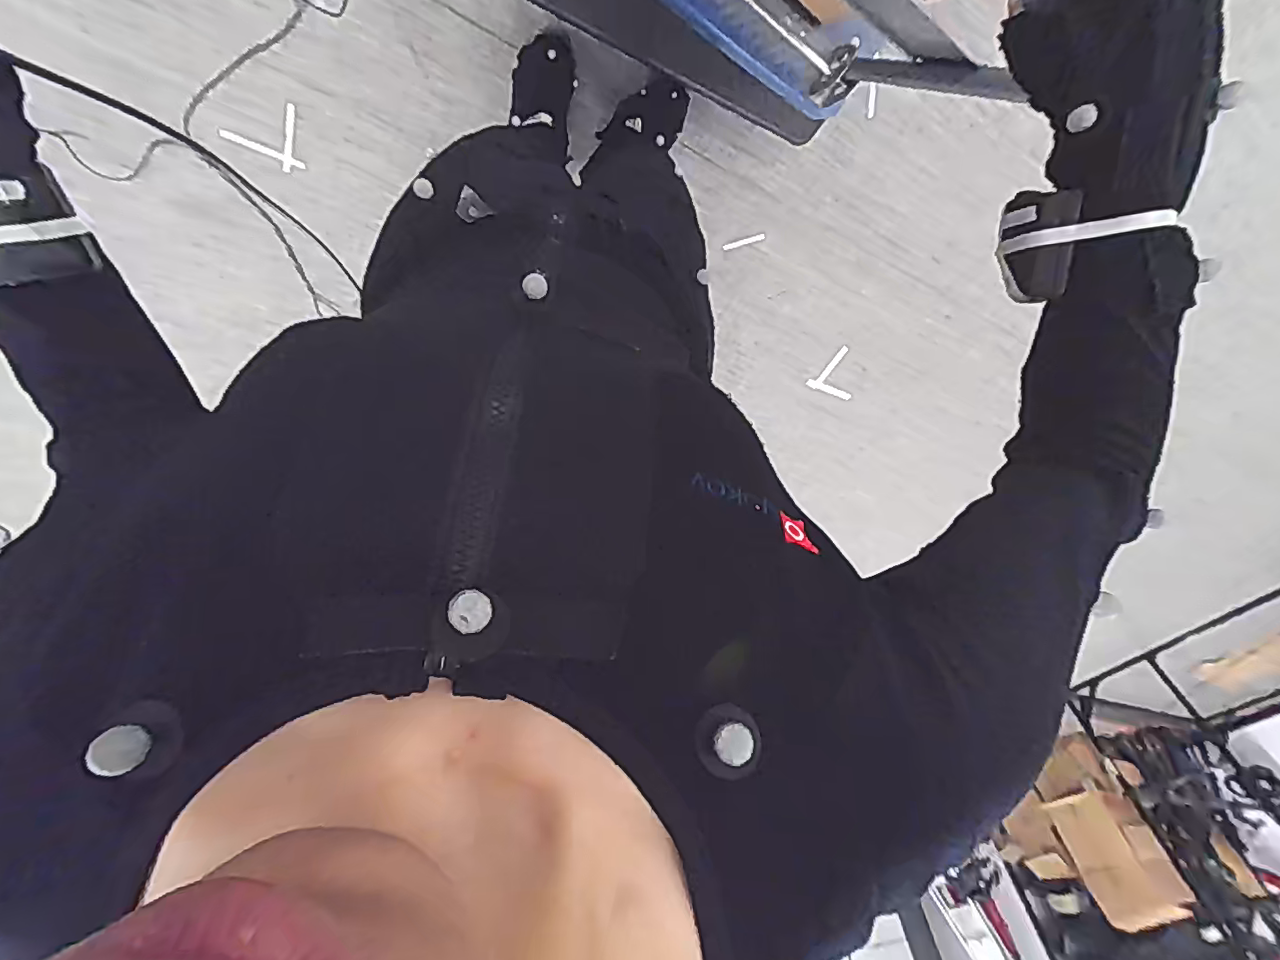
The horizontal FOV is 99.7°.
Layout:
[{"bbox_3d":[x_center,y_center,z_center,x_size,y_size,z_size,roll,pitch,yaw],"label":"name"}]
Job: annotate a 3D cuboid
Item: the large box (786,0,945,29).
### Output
[{"bbox_3d":[0.215,-0.793,0.580,0.408,0.320,0.320,20,119,-26],"label":"large box"}]
